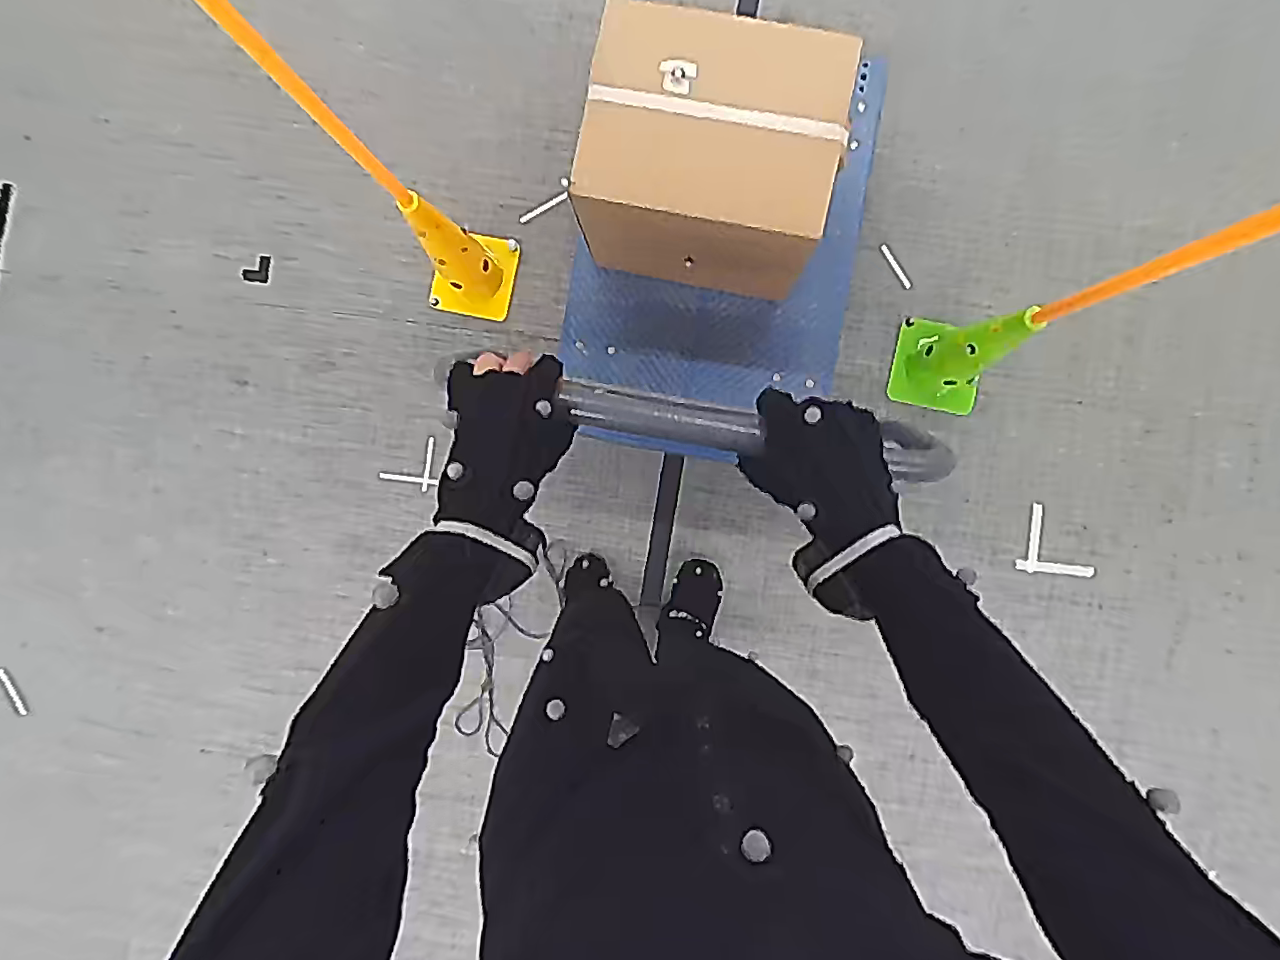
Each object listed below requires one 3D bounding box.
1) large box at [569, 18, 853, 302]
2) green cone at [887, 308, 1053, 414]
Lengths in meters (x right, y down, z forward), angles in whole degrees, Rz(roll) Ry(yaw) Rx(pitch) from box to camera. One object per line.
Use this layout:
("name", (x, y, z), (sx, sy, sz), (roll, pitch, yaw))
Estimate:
("large box", (0.121, -0.552, 0.996), (0.408, 0.320, 0.320), (12, 91, 4))
("green cone", (0.687, -0.270, 1.100), (0.202, 0.368, 0.200), (12, 90, 2))
